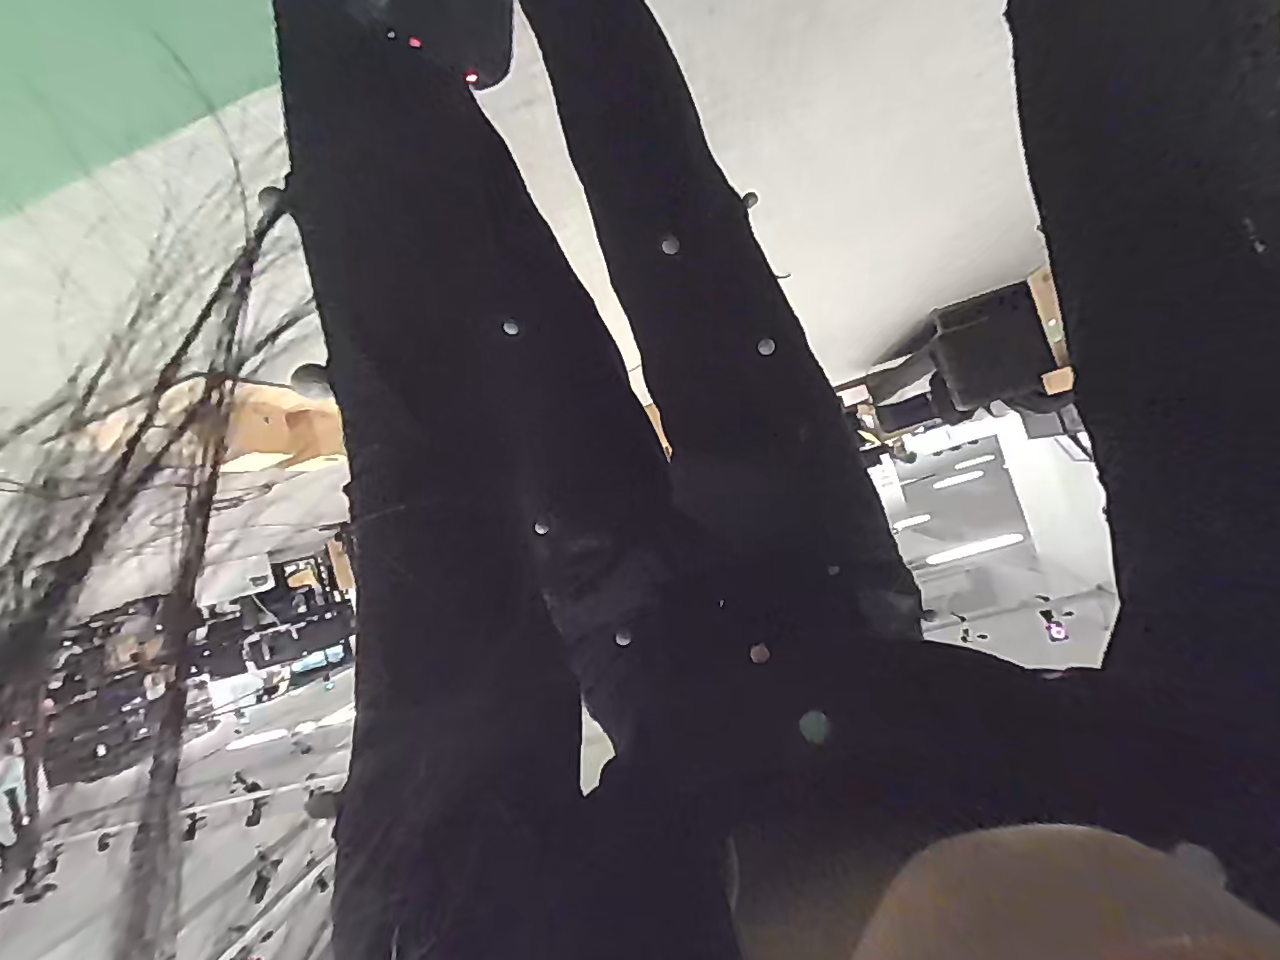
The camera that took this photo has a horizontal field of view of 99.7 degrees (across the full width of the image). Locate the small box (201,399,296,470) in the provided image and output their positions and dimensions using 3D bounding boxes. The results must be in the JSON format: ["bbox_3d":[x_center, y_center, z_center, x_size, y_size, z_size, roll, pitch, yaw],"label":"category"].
[{"bbox_3d":[-1.231,-0.139,1.696,0.179,0.176,0.168,-19,177,14],"label":"small box"}]
